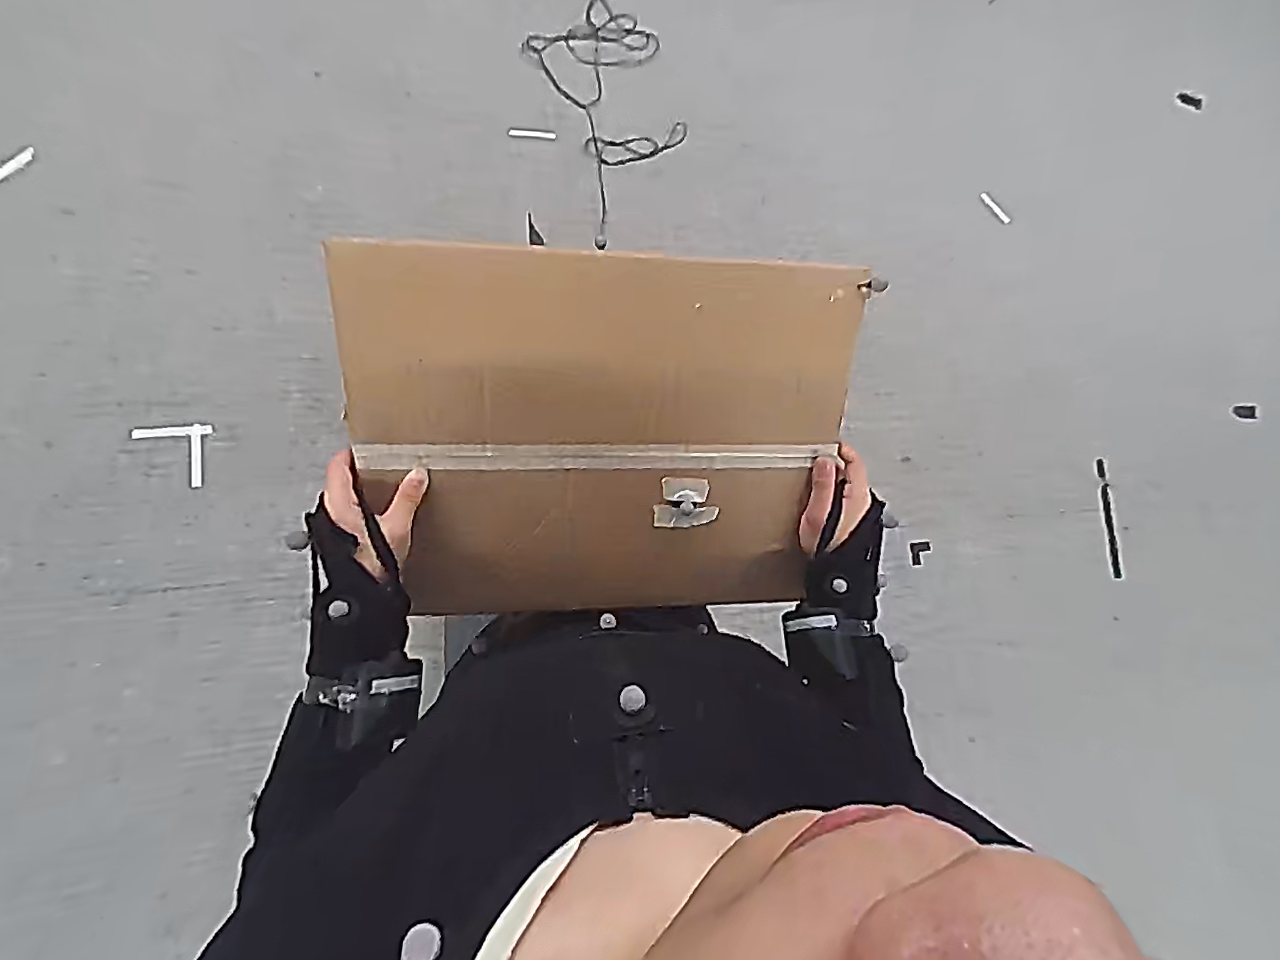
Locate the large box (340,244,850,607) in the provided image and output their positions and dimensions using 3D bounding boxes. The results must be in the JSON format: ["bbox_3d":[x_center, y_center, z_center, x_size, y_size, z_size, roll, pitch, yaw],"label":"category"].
[{"bbox_3d":[-0.050,-0.086,0.607,0.408,0.320,0.320,-1,113,-9],"label":"large box"}]
